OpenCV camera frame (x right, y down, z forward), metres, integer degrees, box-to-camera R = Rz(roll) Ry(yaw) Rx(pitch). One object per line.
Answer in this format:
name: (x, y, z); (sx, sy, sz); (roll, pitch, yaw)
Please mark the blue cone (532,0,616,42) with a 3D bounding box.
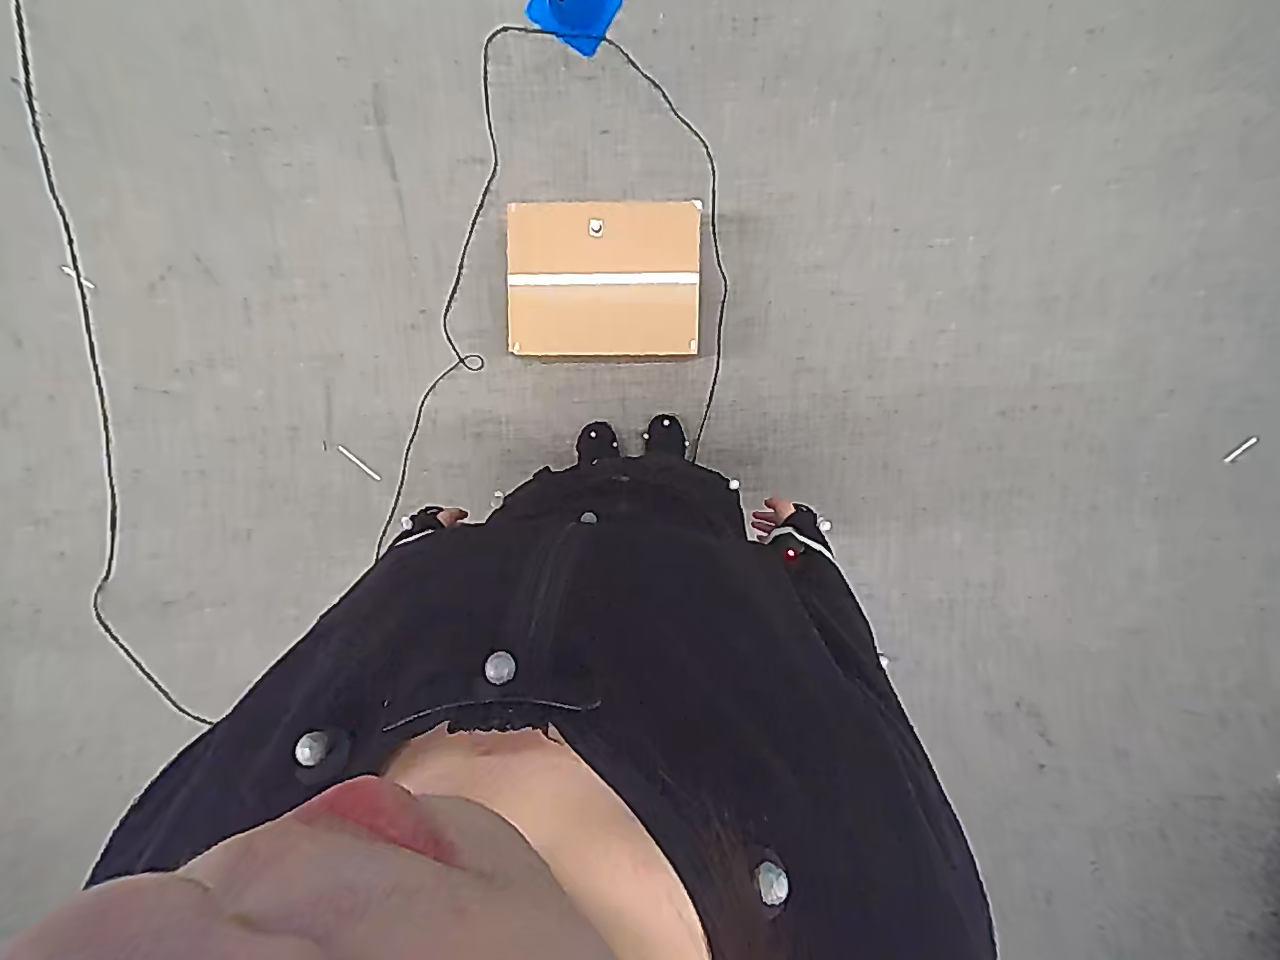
blue cone: (-0.152, -1.168, 1.145); (0.192, 0.380, 0.193); (30, 96, -4)
